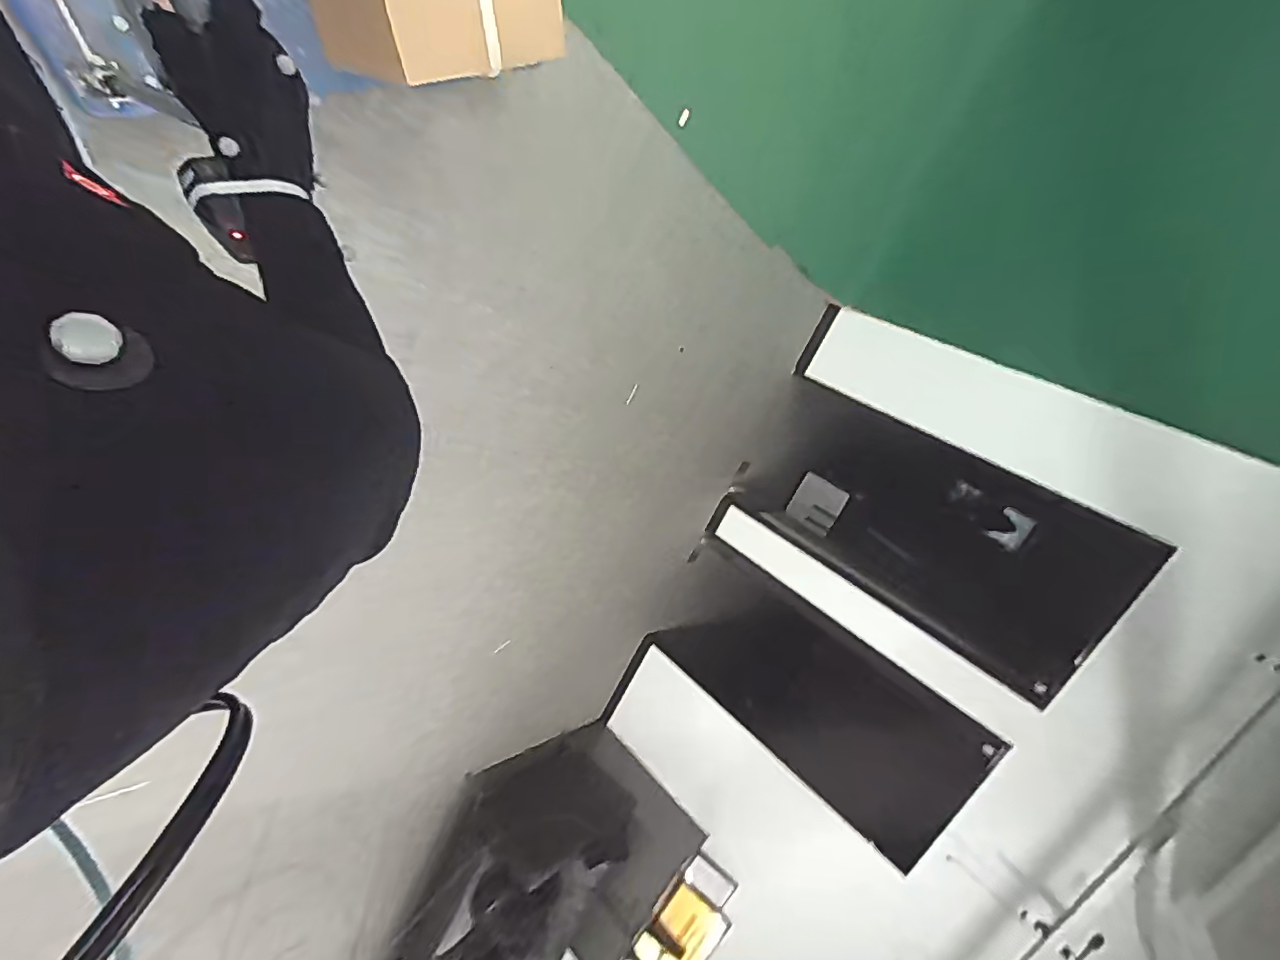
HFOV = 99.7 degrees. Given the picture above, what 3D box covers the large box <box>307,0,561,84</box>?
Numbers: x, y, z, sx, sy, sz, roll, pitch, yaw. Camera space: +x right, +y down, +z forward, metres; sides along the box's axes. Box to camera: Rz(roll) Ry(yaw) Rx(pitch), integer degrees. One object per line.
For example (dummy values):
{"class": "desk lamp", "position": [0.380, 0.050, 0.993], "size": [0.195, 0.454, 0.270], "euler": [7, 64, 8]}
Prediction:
{"class": "large box", "position": [-0.361, -0.891, 0.833], "size": [0.320, 0.320, 0.408], "euler": [-35, 142, -28]}
